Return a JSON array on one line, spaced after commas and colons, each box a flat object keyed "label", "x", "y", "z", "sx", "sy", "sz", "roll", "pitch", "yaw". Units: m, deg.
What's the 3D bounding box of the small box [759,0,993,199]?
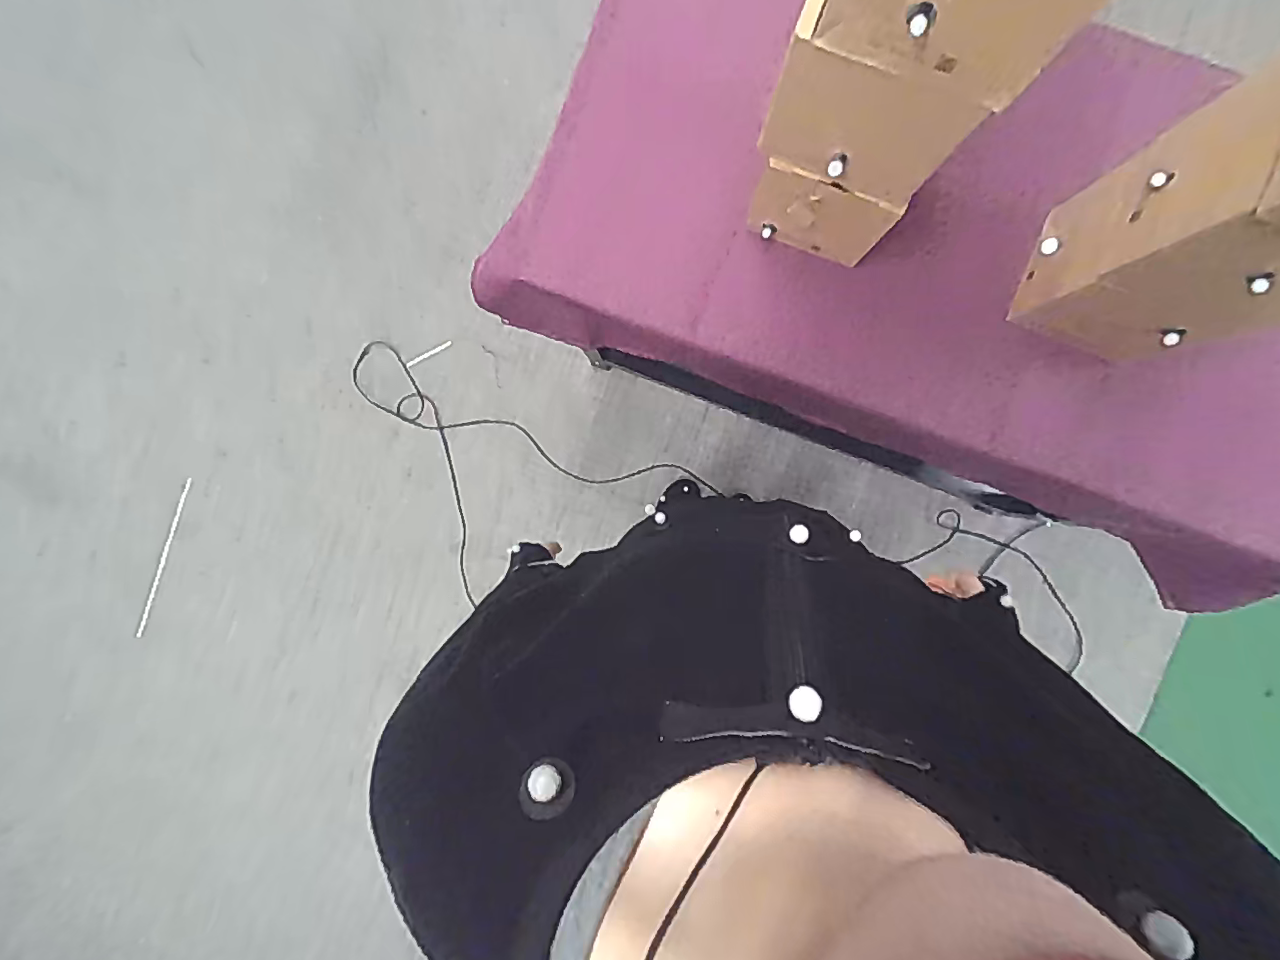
[{"label": "small box", "x": 0.236, "y": -0.405, "z": 0.518, "sx": 0.179, "sy": 0.176, "sz": 0.168, "roll": 22, "pitch": 91, "yaw": 1}]

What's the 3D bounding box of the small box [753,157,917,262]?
[{"label": "small box", "x": 0.253, "y": -0.406, "z": 0.682, "sx": 0.168, "sy": 0.176, "sz": 0.179, "roll": 21, "pitch": 91, "yaw": 1}]

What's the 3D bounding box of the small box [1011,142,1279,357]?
[{"label": "small box", "x": 0.620, "y": -0.265, "z": 0.669, "sx": 0.179, "sy": 0.176, "sz": 0.168, "roll": 22, "pitch": 91, "yaw": 2}]

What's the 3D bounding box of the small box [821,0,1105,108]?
[{"label": "small box", "x": 0.241, "y": -0.403, "z": 0.355, "sx": 0.168, "sy": 0.176, "sz": 0.179, "roll": 21, "pitch": 92, "yaw": 2}]
